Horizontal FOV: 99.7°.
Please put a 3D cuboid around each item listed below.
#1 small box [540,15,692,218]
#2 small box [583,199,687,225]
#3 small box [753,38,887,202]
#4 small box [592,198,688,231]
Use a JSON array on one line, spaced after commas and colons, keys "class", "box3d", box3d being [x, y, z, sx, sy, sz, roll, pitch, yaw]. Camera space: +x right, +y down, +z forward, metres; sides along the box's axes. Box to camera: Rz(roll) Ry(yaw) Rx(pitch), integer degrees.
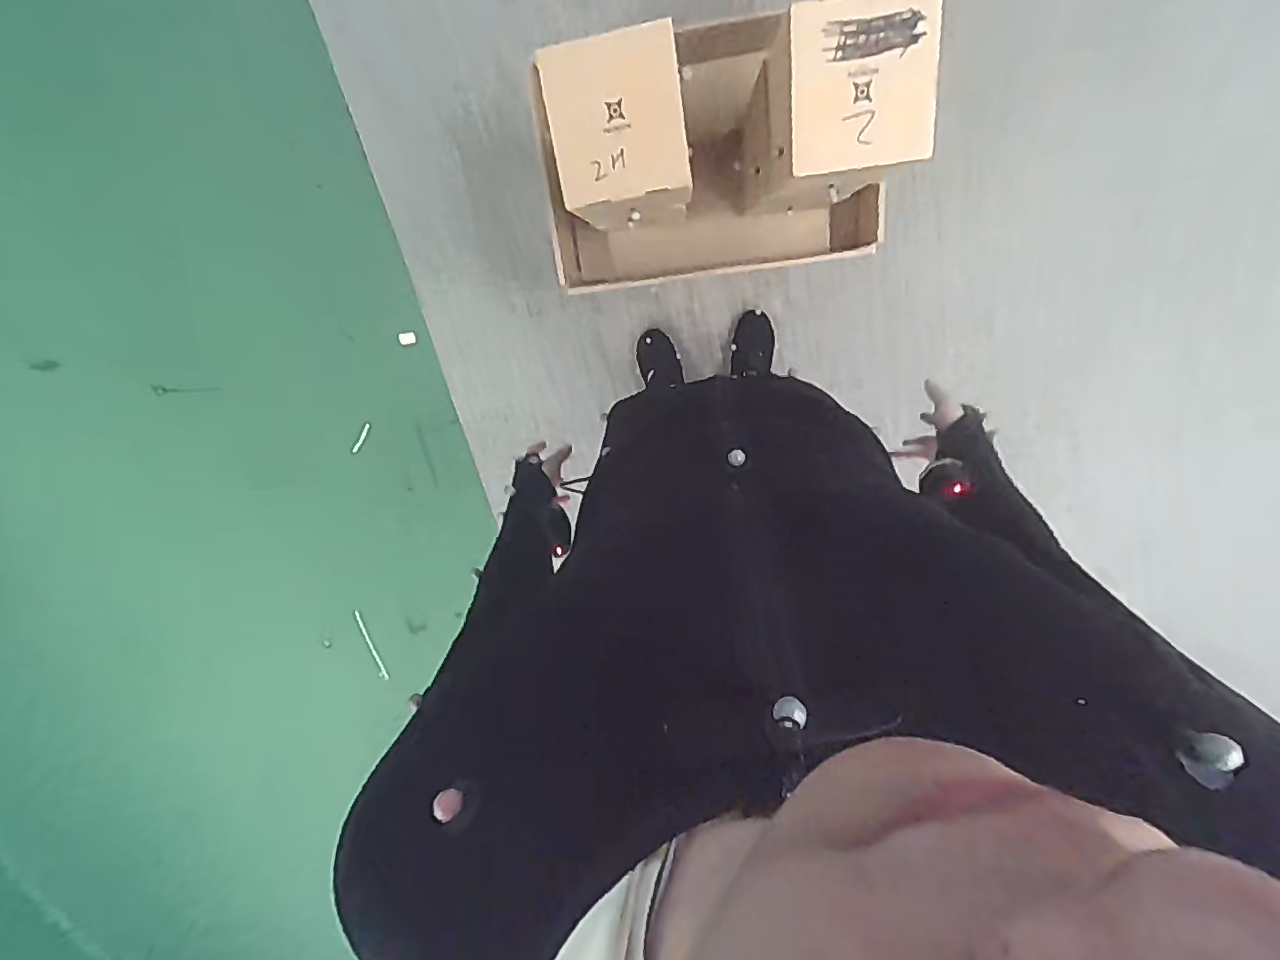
[{"class": "small box", "box3d": [-0.022, -0.471, 0.731, 0.168, 0.176, 0.179, -7, 109, 8]}, {"class": "small box", "box3d": [-0.009, -0.528, 0.885, 0.168, 0.176, 0.179, -3, 110, 7]}, {"class": "small box", "box3d": [0.271, -0.545, 0.847, 0.168, 0.176, 0.179, -4, 109, 6]}, {"class": "small box", "box3d": [0.002, -0.581, 1.039, 0.179, 0.176, 0.168, -2, 110, 6]}]
